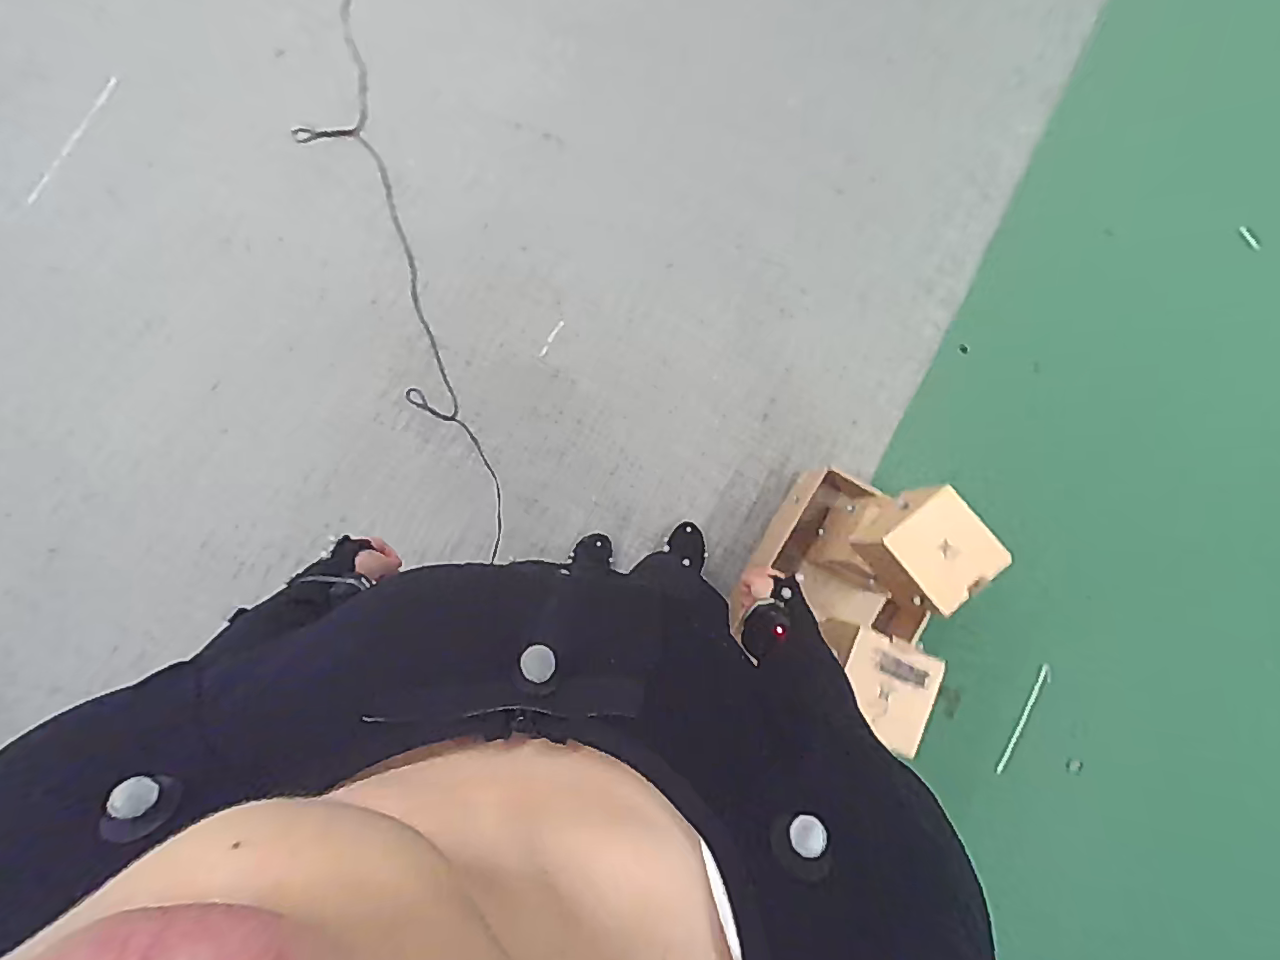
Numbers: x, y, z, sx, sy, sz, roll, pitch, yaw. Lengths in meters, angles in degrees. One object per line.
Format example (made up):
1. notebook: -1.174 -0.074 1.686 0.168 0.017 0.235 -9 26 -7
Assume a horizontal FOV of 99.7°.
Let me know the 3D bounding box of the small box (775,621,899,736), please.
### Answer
1. small box: 0.421 0.421 1.180 0.179 0.176 0.168 24 82 4

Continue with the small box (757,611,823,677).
1. small box: 0.419 0.443 1.342 0.179 0.176 0.168 34 83 3

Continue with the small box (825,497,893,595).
1. small box: 0.544 0.155 1.207 0.179 0.176 0.168 30 85 1

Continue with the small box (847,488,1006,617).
1. small box: 0.539 0.137 1.046 0.168 0.176 0.179 -38 87 -4
